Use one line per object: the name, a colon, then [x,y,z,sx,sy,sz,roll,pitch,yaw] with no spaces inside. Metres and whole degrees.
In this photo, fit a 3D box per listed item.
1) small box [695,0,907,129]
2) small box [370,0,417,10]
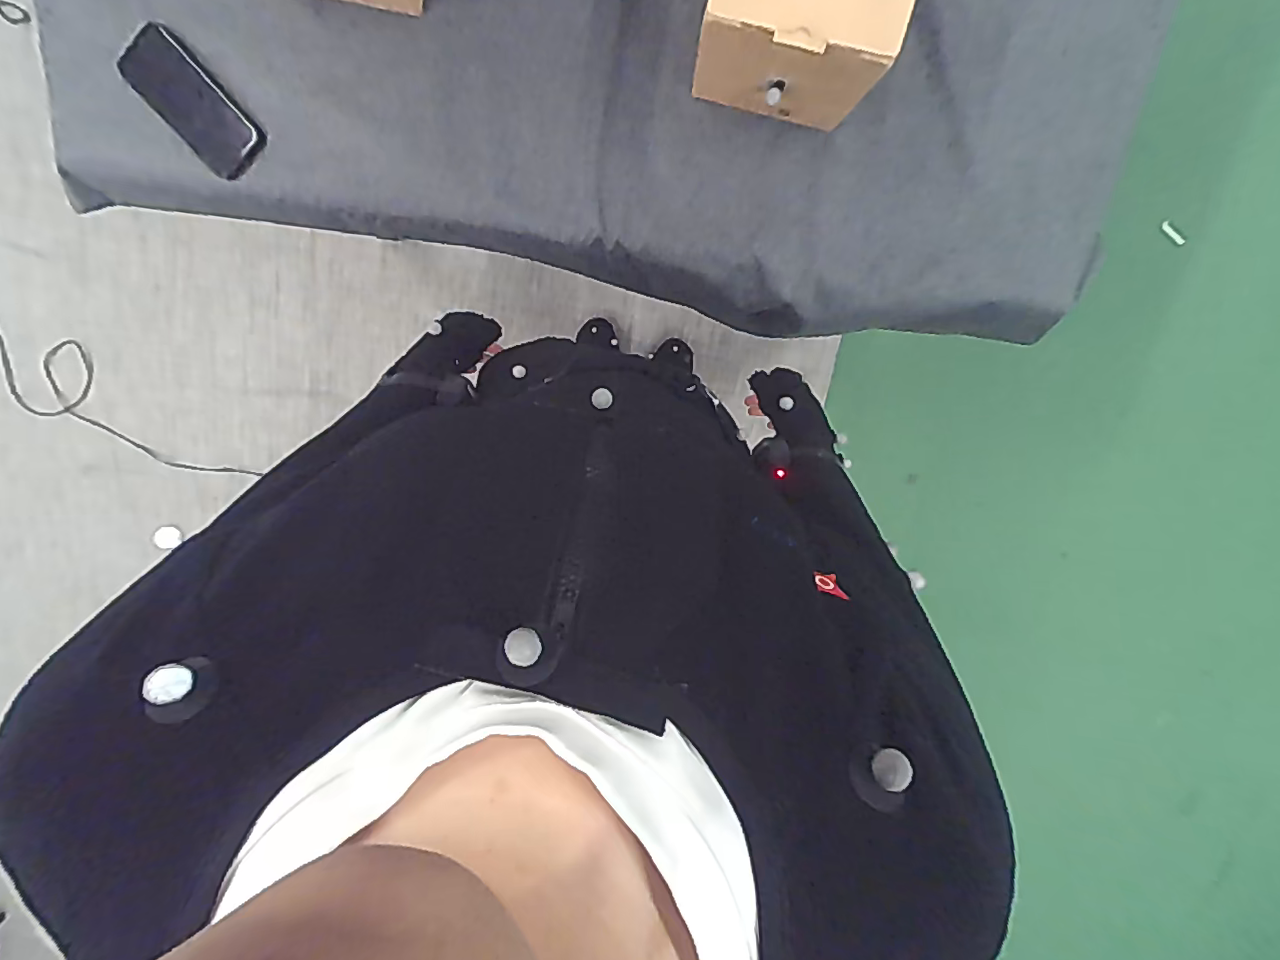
small box: [0.151,-0.463,0.504,0.168,0.176,0.179,13,106,-2]
small box: [-0.302,-0.576,0.483,0.168,0.176,0.179,11,105,-2]
